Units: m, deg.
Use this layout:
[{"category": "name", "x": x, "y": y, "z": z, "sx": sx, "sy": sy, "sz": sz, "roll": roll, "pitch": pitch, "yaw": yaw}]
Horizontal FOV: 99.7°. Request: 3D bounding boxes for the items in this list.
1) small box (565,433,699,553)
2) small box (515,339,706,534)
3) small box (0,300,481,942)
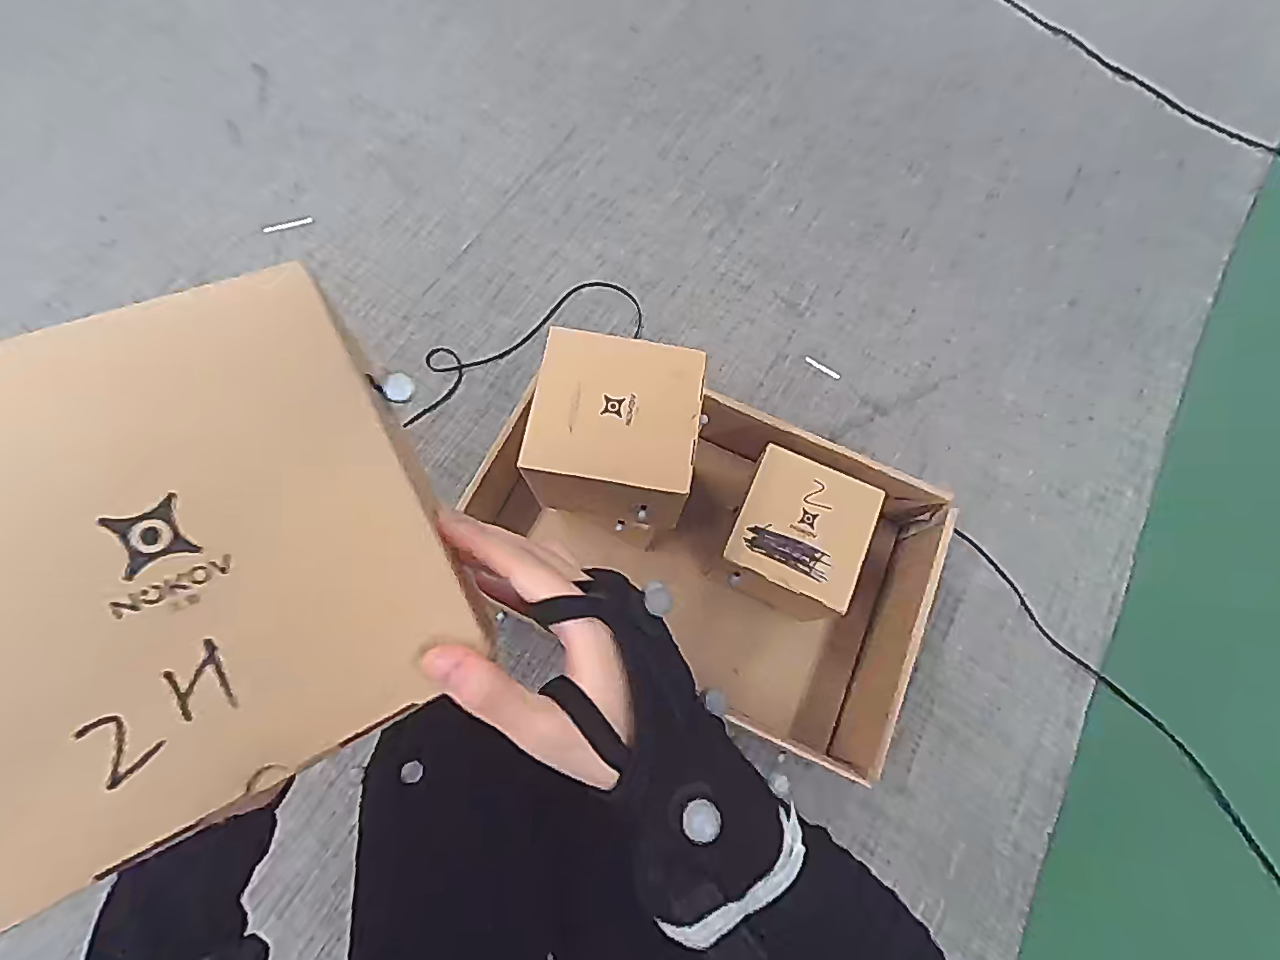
[{"category": "small box", "x": -0.034, "y": -0.006, "z": 0.798, "sx": 0.179, "sy": 0.176, "sz": 0.168, "roll": 26, "pitch": 73, "yaw": 5}, {"category": "small box", "x": -0.029, "y": -0.039, "z": 0.638, "sx": 0.179, "sy": 0.176, "sz": 0.168, "roll": 10, "pitch": 72, "yaw": 2}, {"category": "small box", "x": -0.192, "y": 0.047, "z": 0.268, "sx": 0.168, "sy": 0.176, "sz": 0.179, "roll": -25, "pitch": 91, "yaw": -17}]
